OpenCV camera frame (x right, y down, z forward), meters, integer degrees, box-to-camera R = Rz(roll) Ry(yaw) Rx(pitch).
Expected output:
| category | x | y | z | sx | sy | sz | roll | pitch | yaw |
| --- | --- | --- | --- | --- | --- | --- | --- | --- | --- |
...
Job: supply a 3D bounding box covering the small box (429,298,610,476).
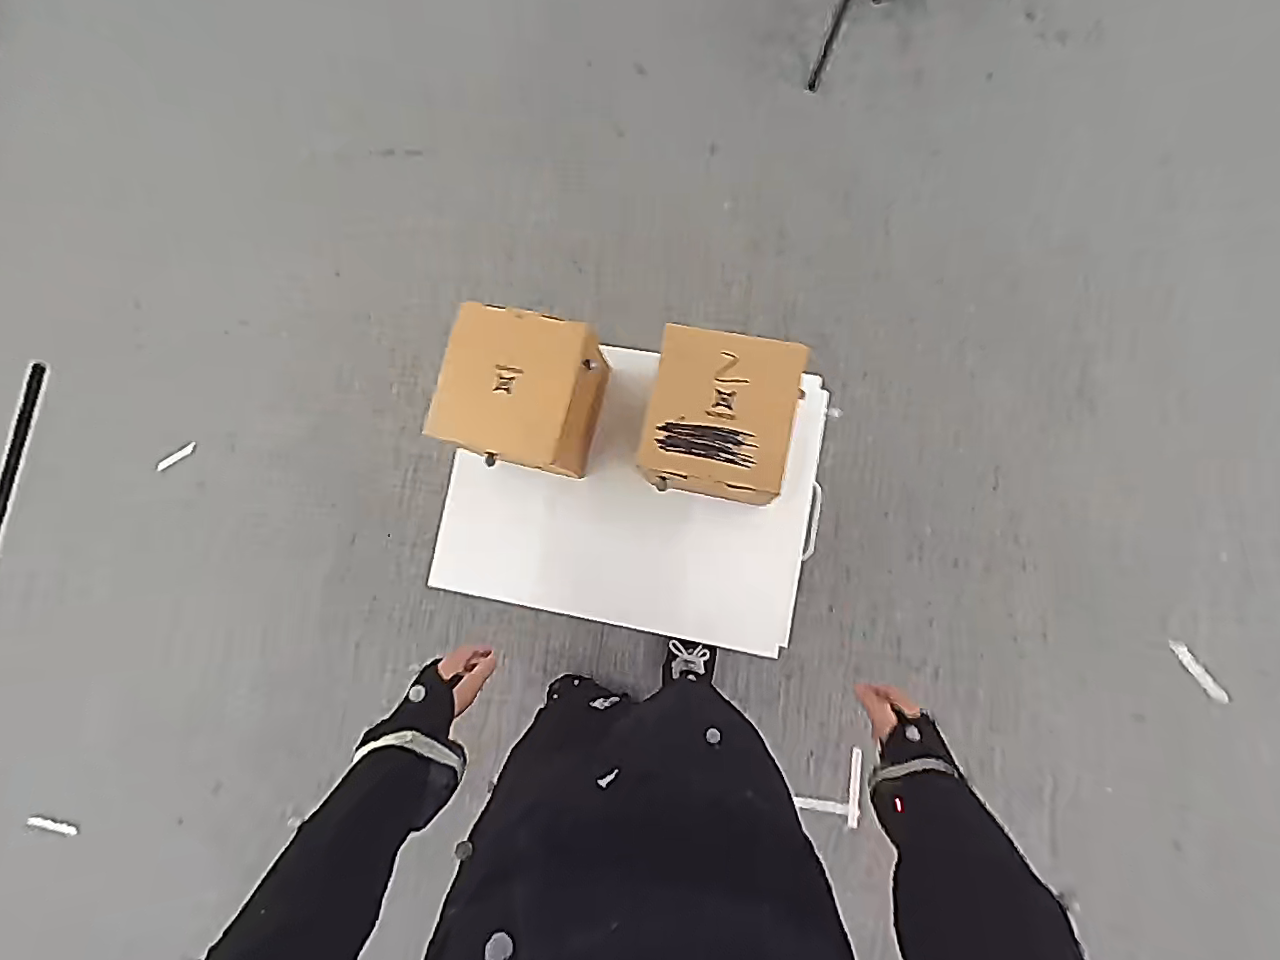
| category | x | y | z | sx | sy | sz | roll | pitch | yaw |
| --- | --- | --- | --- | --- | --- | --- | --- | --- | --- |
| small box | -0.146 | -0.111 | 0.719 | 0.168 | 0.176 | 0.179 | 13 | 84 | 7 |
